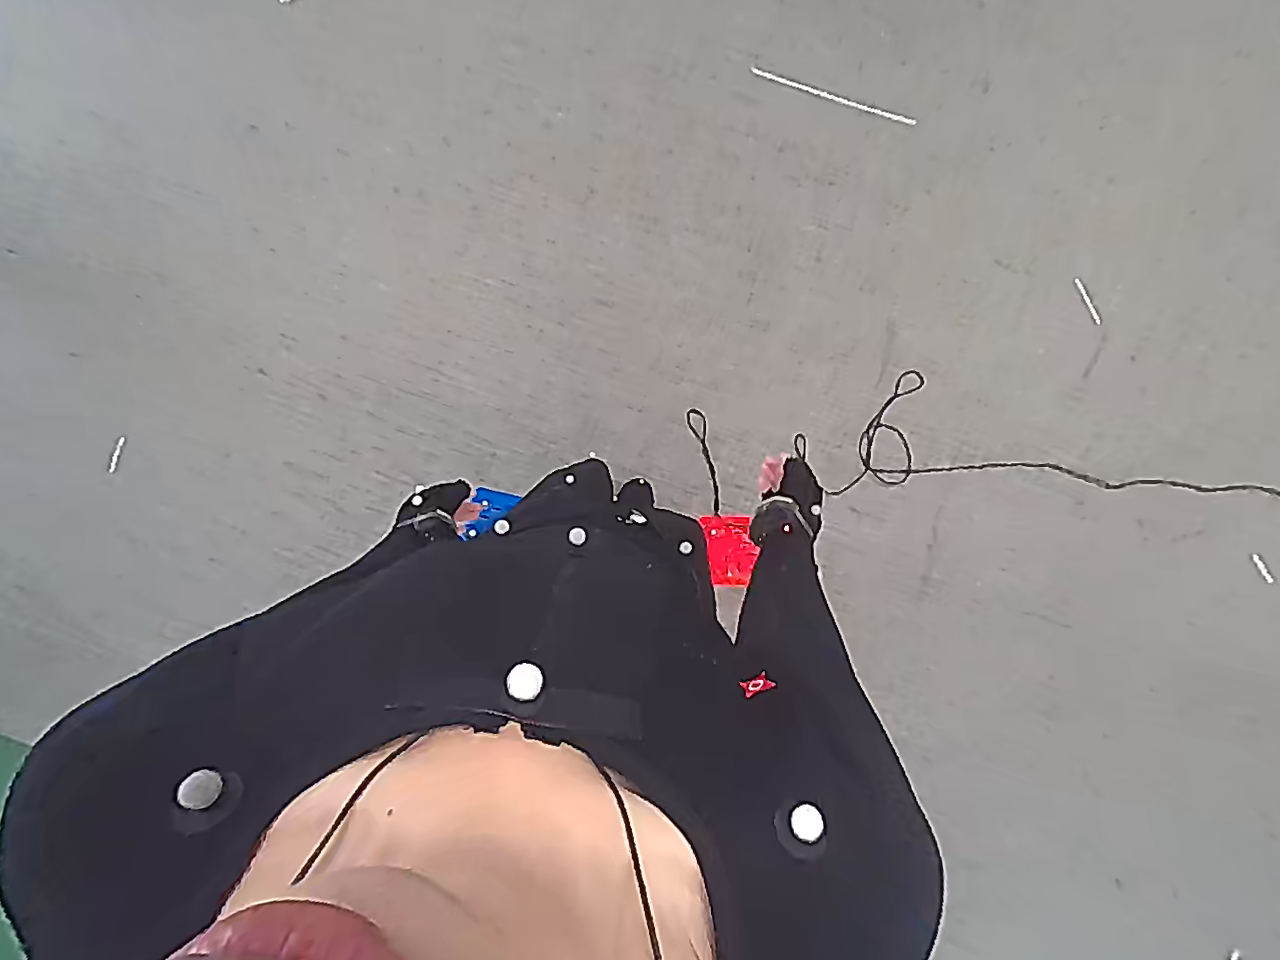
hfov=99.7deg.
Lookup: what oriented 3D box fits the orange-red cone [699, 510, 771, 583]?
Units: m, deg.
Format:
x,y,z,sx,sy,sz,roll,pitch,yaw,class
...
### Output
x,y,z,sx,sy,sz,roll,pitch,yaw,class
0.259,0.191,1.339,0.198,0.360,0.199,1,92,2,orange-red cone
